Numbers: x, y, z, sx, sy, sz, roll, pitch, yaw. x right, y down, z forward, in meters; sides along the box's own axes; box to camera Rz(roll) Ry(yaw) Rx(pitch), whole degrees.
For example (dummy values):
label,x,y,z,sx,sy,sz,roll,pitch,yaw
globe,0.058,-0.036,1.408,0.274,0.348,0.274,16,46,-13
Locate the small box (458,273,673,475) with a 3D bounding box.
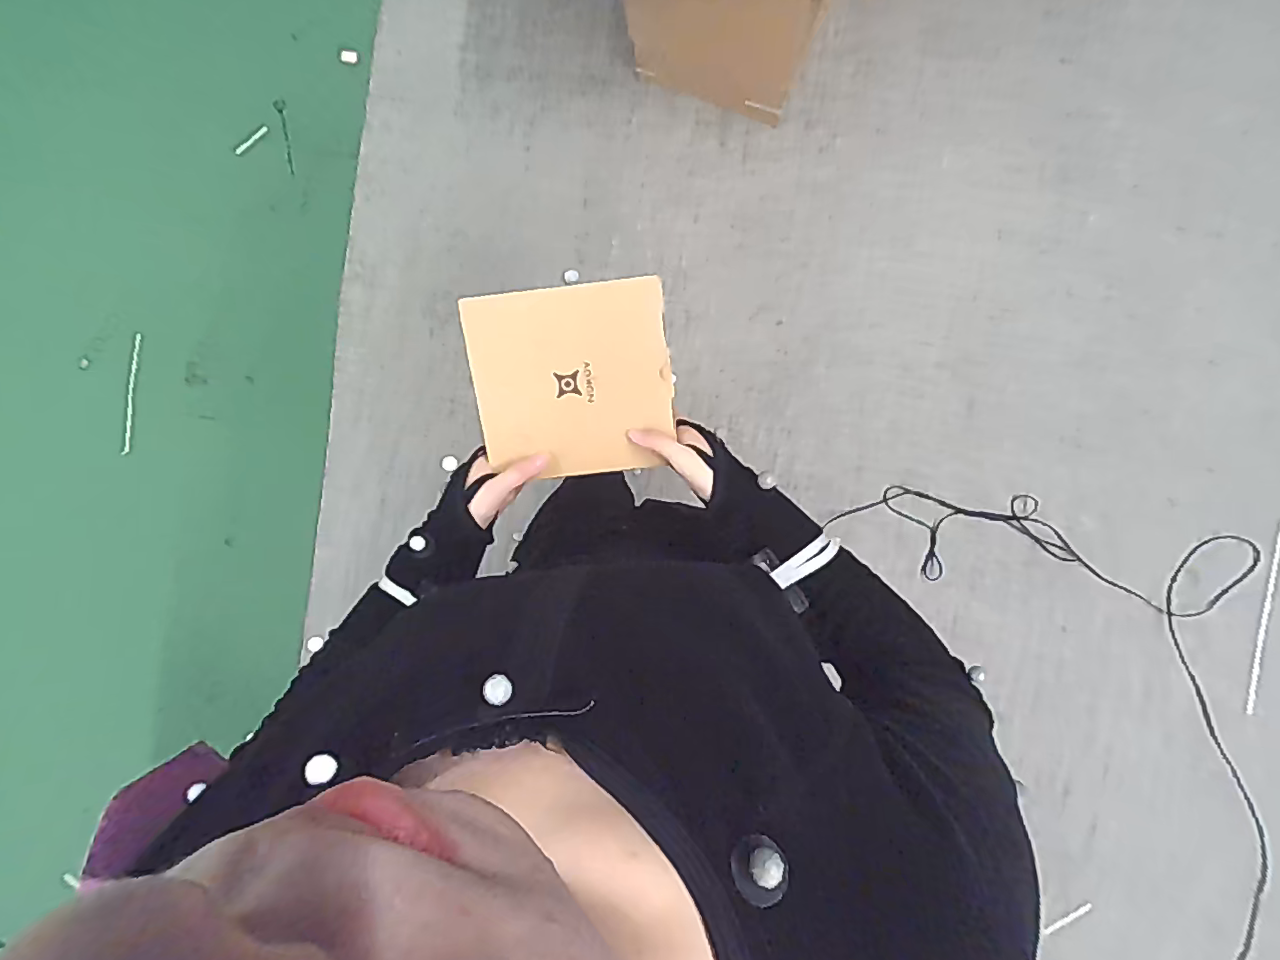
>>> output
label,x,y,z,sx,sy,sz,roll,pitch,yaw
small box,-0.063,-0.108,0.557,0.179,0.176,0.168,-6,104,1
